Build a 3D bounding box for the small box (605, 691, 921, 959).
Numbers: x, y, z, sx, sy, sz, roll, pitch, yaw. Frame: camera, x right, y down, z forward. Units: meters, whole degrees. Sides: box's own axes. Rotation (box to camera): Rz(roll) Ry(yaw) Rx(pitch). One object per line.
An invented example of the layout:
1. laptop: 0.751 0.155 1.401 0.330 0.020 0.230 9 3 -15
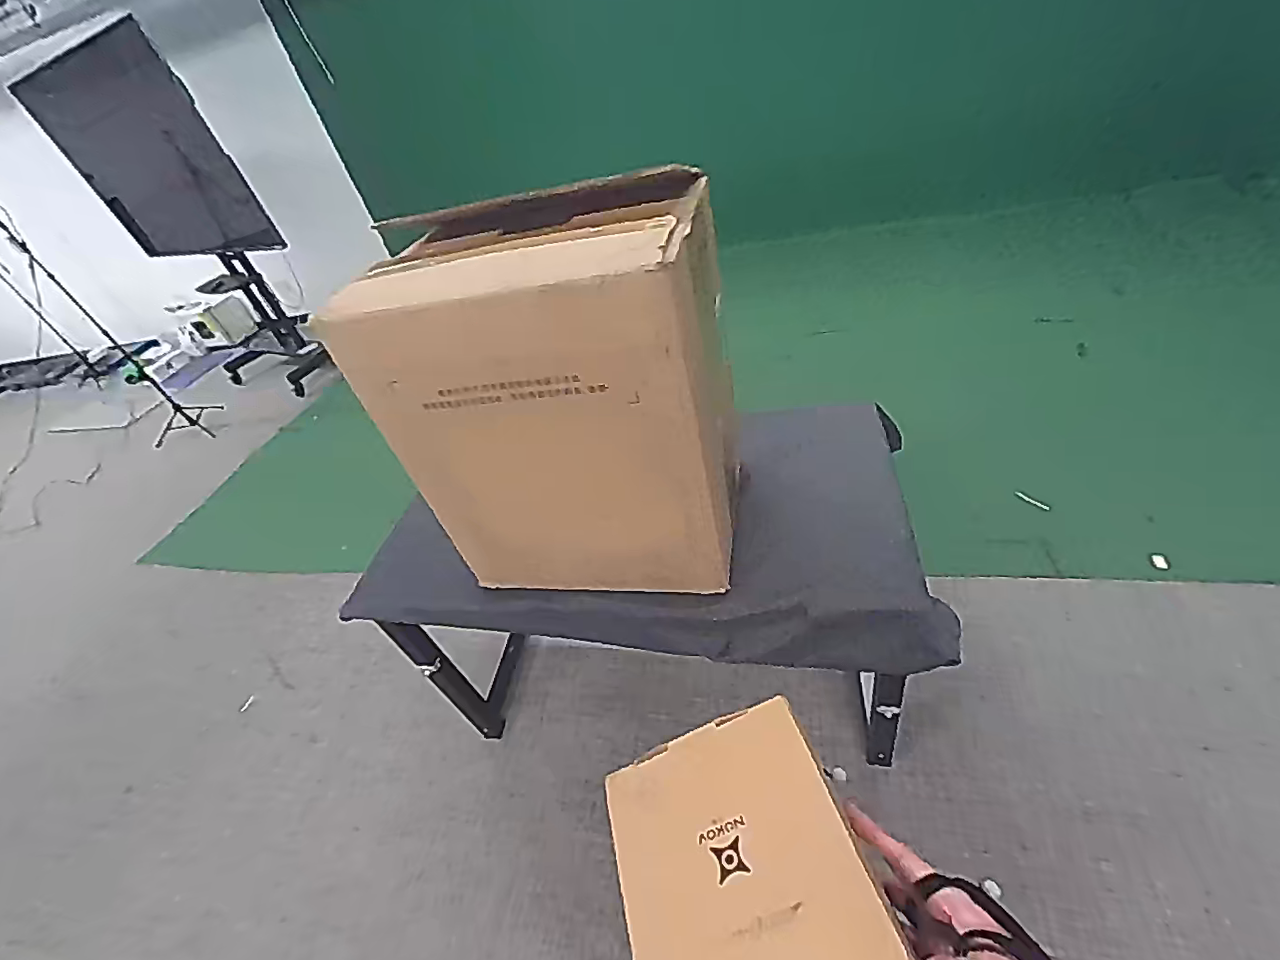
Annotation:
1. small box: 0.093 0.307 0.421 0.168 0.176 0.179 -28 37 4
